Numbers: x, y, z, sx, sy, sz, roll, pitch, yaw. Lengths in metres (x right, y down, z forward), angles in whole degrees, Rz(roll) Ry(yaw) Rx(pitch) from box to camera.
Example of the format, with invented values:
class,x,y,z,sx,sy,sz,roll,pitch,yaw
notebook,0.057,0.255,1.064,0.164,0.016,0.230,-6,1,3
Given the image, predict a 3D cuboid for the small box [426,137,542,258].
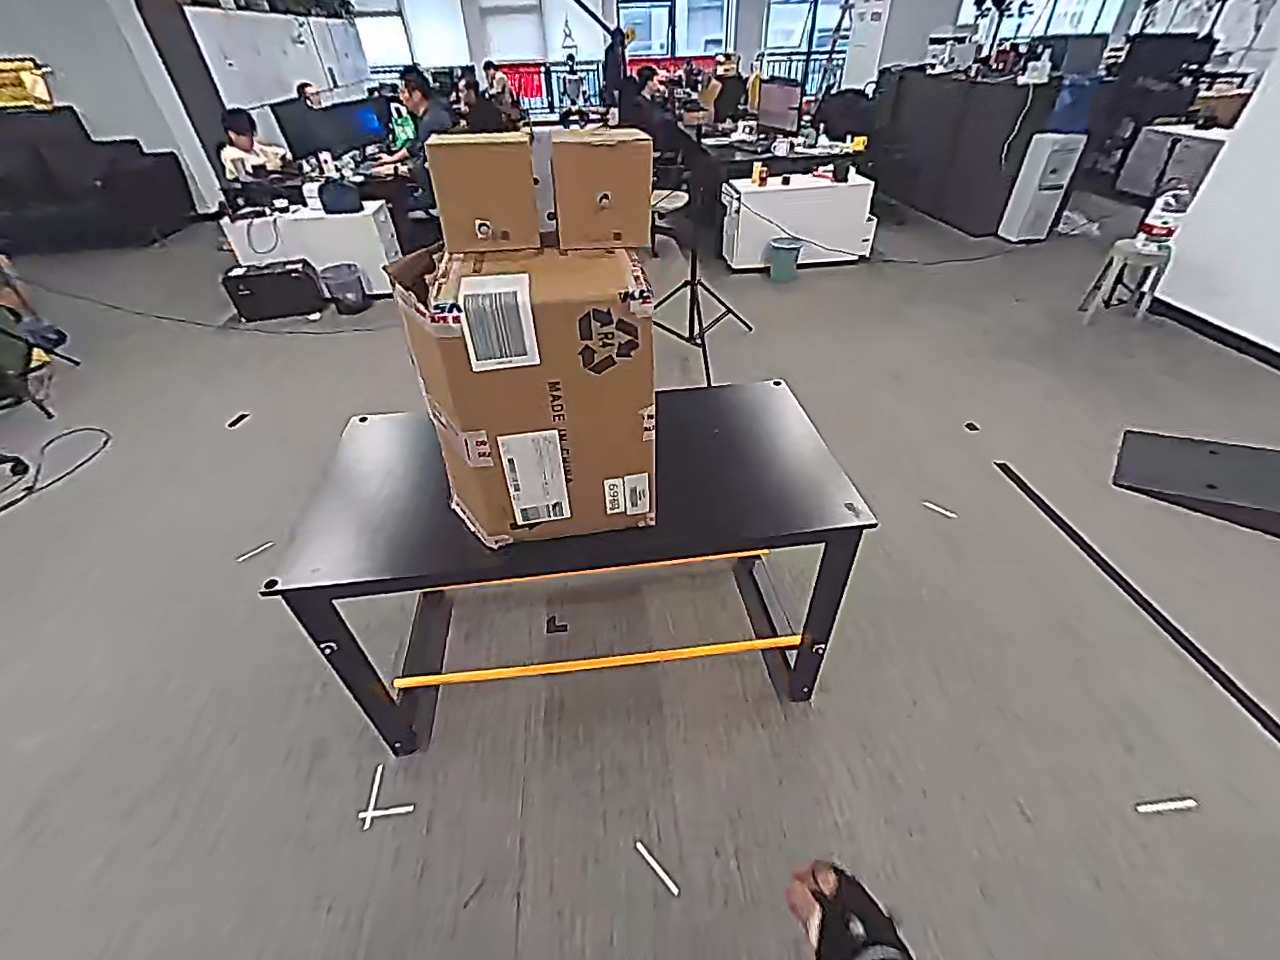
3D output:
class,x,y,z,sx,sy,sz,roll,pitch,yaw
small box,-0.275,-0.511,0.977,0.168,0.176,0.179,-10,38,-10
